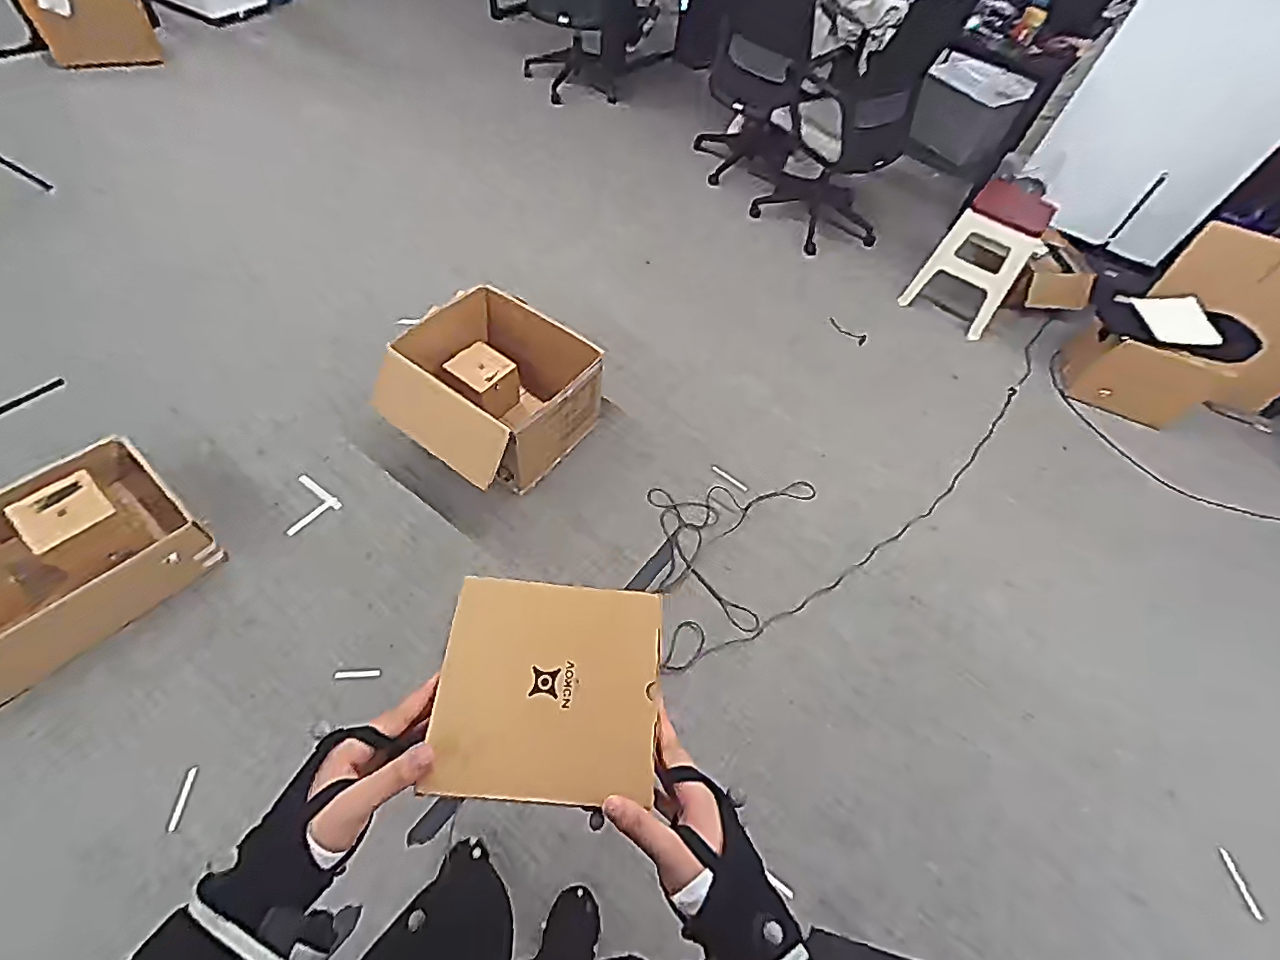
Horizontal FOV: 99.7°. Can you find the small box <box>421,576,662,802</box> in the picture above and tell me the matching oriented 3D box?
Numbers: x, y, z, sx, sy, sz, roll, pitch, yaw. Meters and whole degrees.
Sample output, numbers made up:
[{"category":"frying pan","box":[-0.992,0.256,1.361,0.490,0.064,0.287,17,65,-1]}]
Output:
[{"category":"small box","box":[-0.080,0.202,0.509,0.179,0.176,0.168,6,60,-4]}]

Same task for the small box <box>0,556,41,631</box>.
[{"category":"small box","box":[-1.566,0.268,1.239,0.168,0.176,0.179,40,58,16]}]
